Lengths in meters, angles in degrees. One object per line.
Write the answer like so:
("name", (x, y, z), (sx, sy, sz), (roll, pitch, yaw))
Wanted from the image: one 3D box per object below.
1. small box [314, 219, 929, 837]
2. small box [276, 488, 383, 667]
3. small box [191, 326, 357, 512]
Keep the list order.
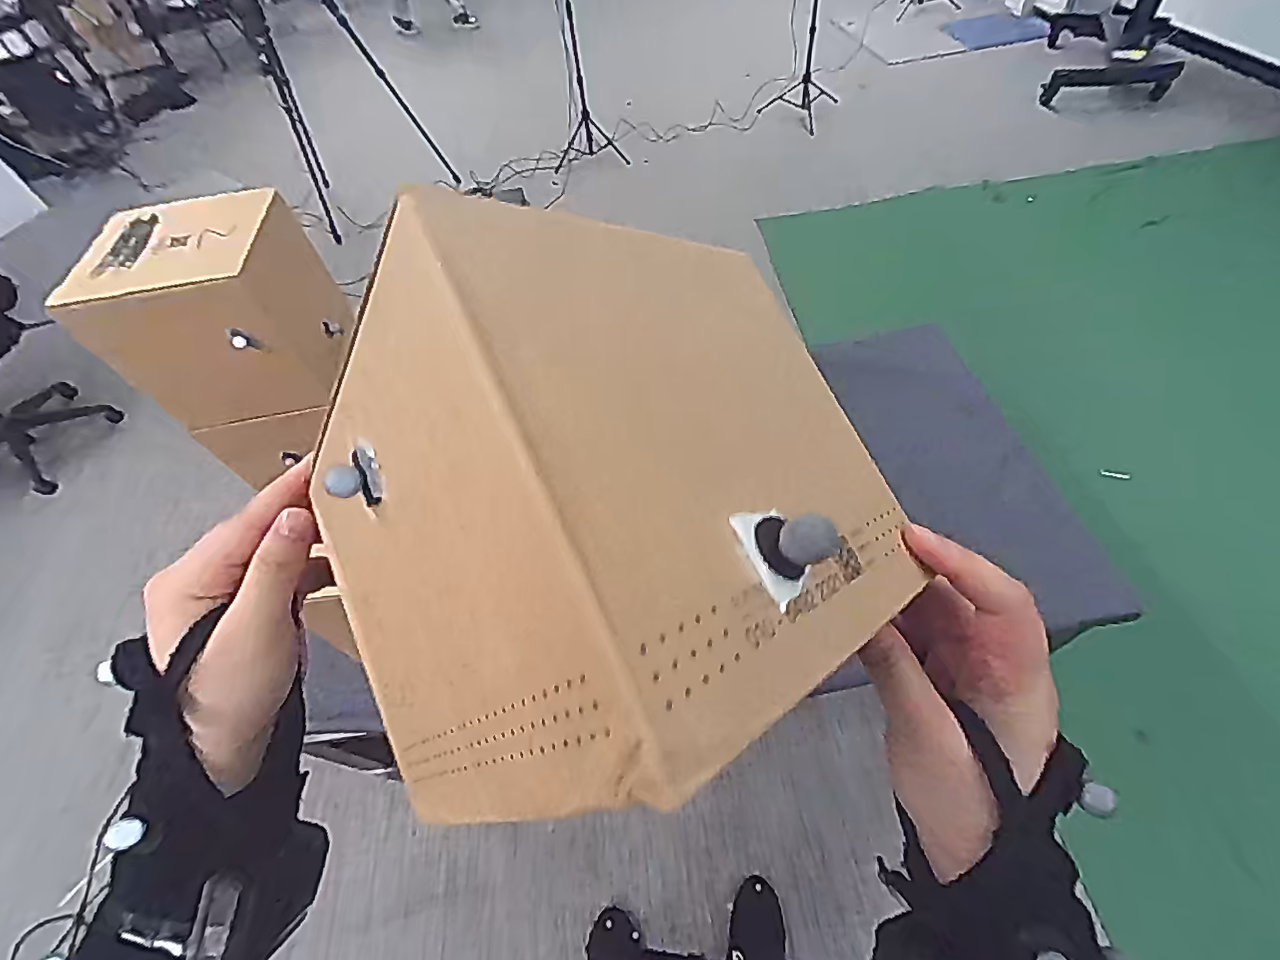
("small box", (-0.018, 0.025, 0.239), (0.168, 0.179, 0.176), (-17, 76, -44))
("small box", (-0.234, 0.089, 0.584), (0.179, 0.176, 0.168), (-8, 53, 2))
("small box", (-0.438, -0.078, 0.735), (0.179, 0.176, 0.168), (-11, 54, -1))
